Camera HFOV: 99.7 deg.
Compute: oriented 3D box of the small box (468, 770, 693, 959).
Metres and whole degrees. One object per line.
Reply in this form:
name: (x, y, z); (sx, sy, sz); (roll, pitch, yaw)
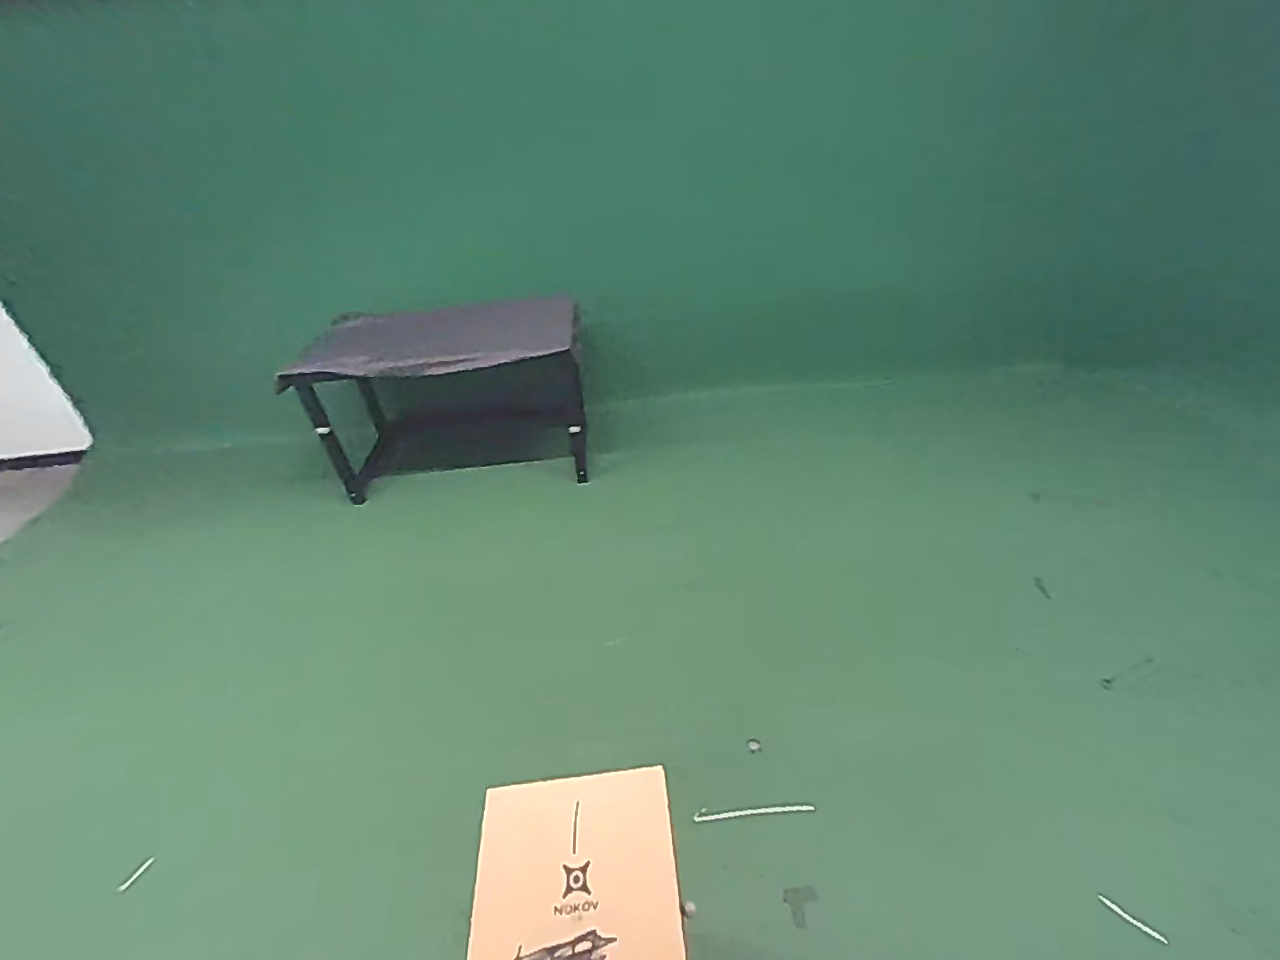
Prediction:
small box: (-0.041, 0.388, 0.479); (0.168, 0.176, 0.179); (-7, 41, 0)
